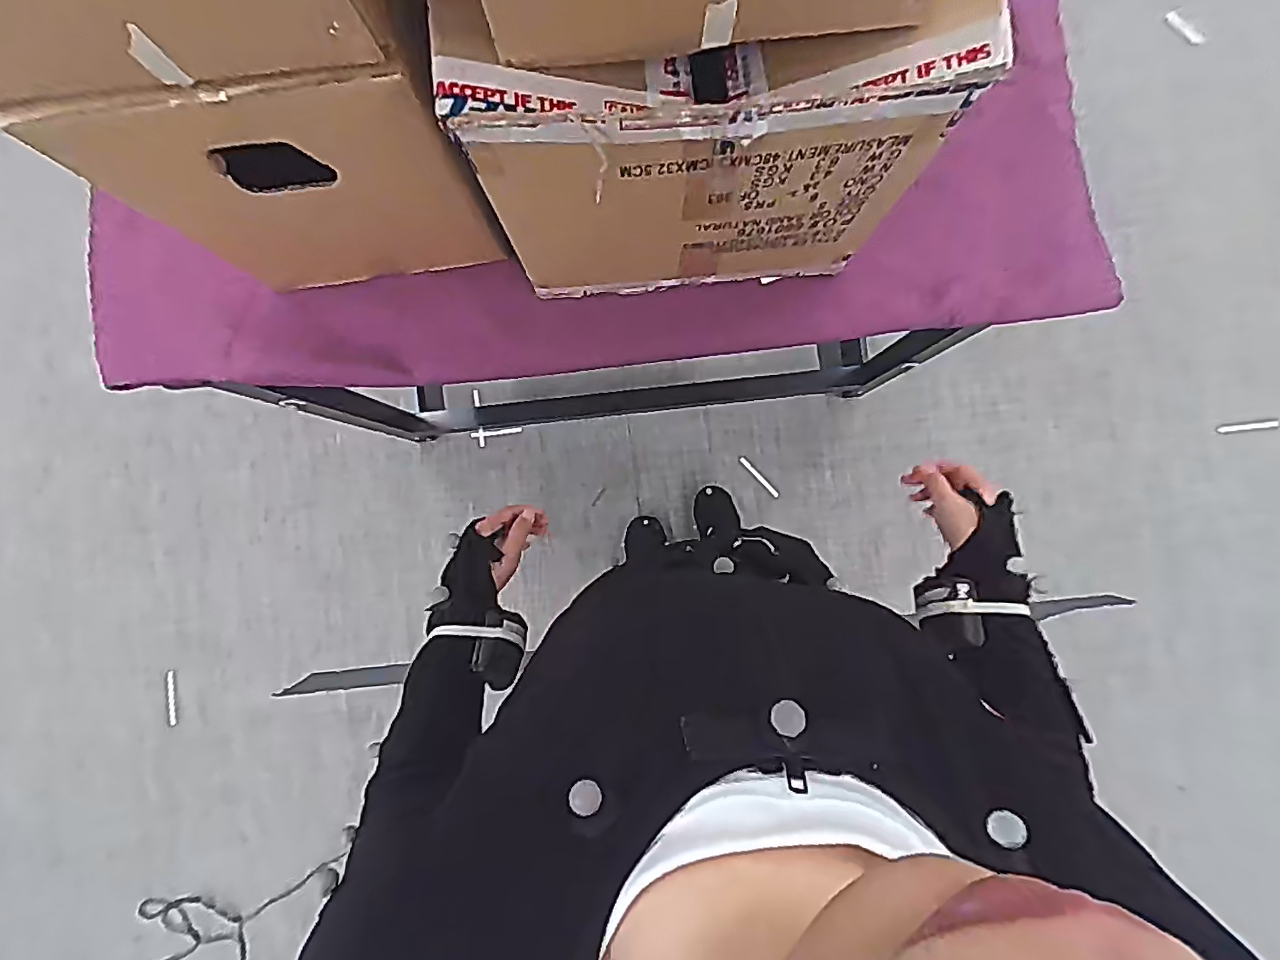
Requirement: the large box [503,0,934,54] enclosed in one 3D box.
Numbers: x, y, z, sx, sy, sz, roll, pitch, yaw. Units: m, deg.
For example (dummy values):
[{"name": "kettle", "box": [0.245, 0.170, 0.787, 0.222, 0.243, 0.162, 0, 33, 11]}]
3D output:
[{"name": "large box", "box": [0.039, -0.520, 0.244, 0.320, 0.320, 0.408, -6, 88, 1]}]
